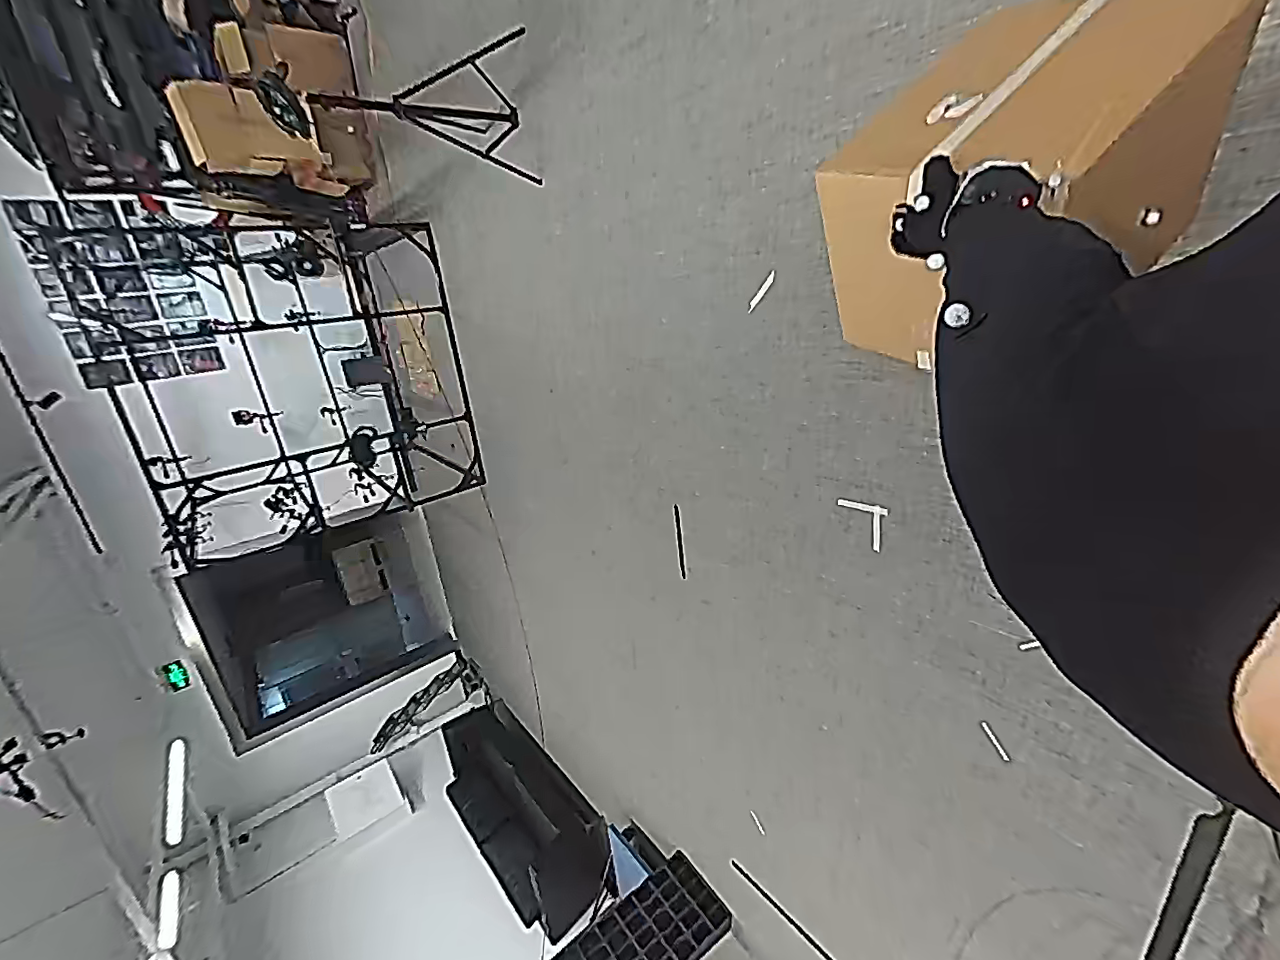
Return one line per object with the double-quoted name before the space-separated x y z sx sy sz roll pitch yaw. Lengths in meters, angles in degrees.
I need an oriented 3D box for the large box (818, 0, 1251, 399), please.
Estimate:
"large box" 0.534 -0.399 0.794 0.320 0.408 0.320 38 168 44
